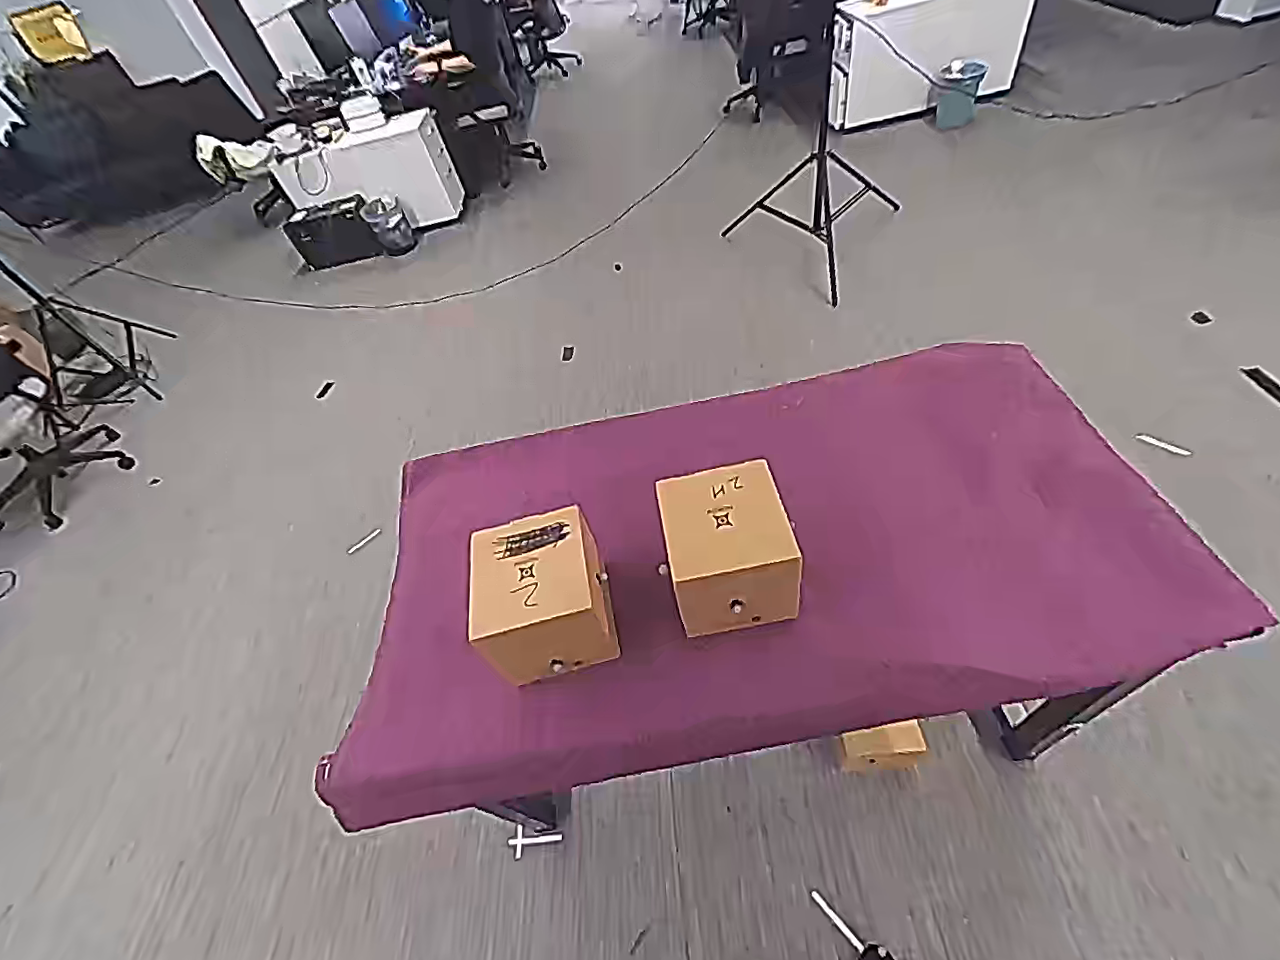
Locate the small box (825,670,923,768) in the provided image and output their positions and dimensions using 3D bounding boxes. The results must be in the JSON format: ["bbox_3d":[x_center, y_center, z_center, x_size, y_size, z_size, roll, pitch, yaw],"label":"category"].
[{"bbox_3d":[0.541,0.568,1.274,0.168,0.176,0.179,-8,49,8],"label":"small box"}]

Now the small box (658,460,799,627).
[{"bbox_3d":[0.128,0.101,0.795,0.168,0.176,0.179,-11,48,3],"label":"small box"}]
